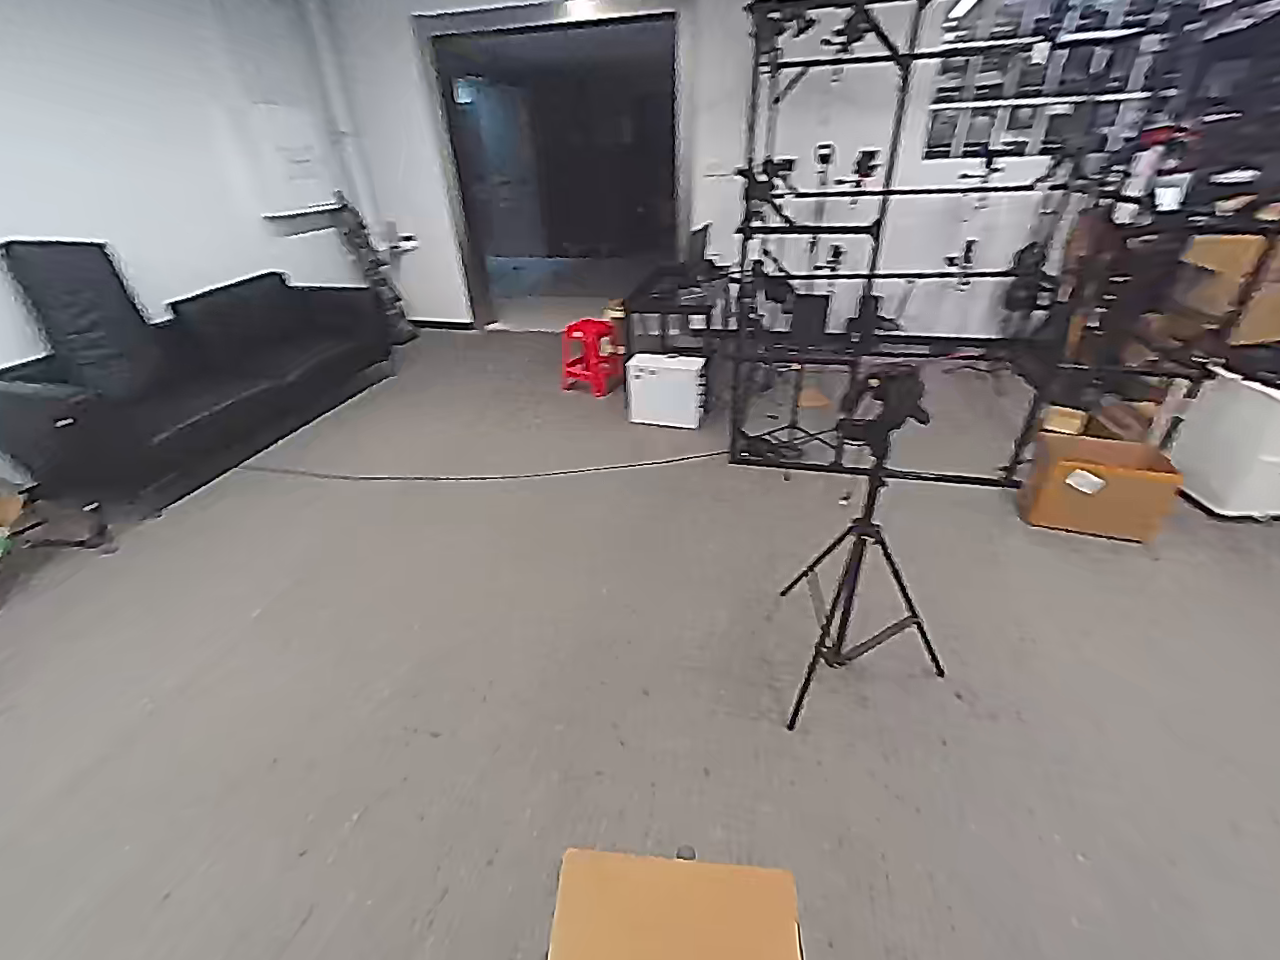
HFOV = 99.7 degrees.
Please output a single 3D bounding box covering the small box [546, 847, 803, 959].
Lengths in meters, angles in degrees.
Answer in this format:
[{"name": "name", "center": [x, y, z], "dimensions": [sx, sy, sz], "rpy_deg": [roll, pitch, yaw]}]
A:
[{"name": "small box", "center": [0.021, 0.396, 0.399], "dimensions": [0.179, 0.176, 0.168], "rpy_deg": [3, 42, 2]}]
